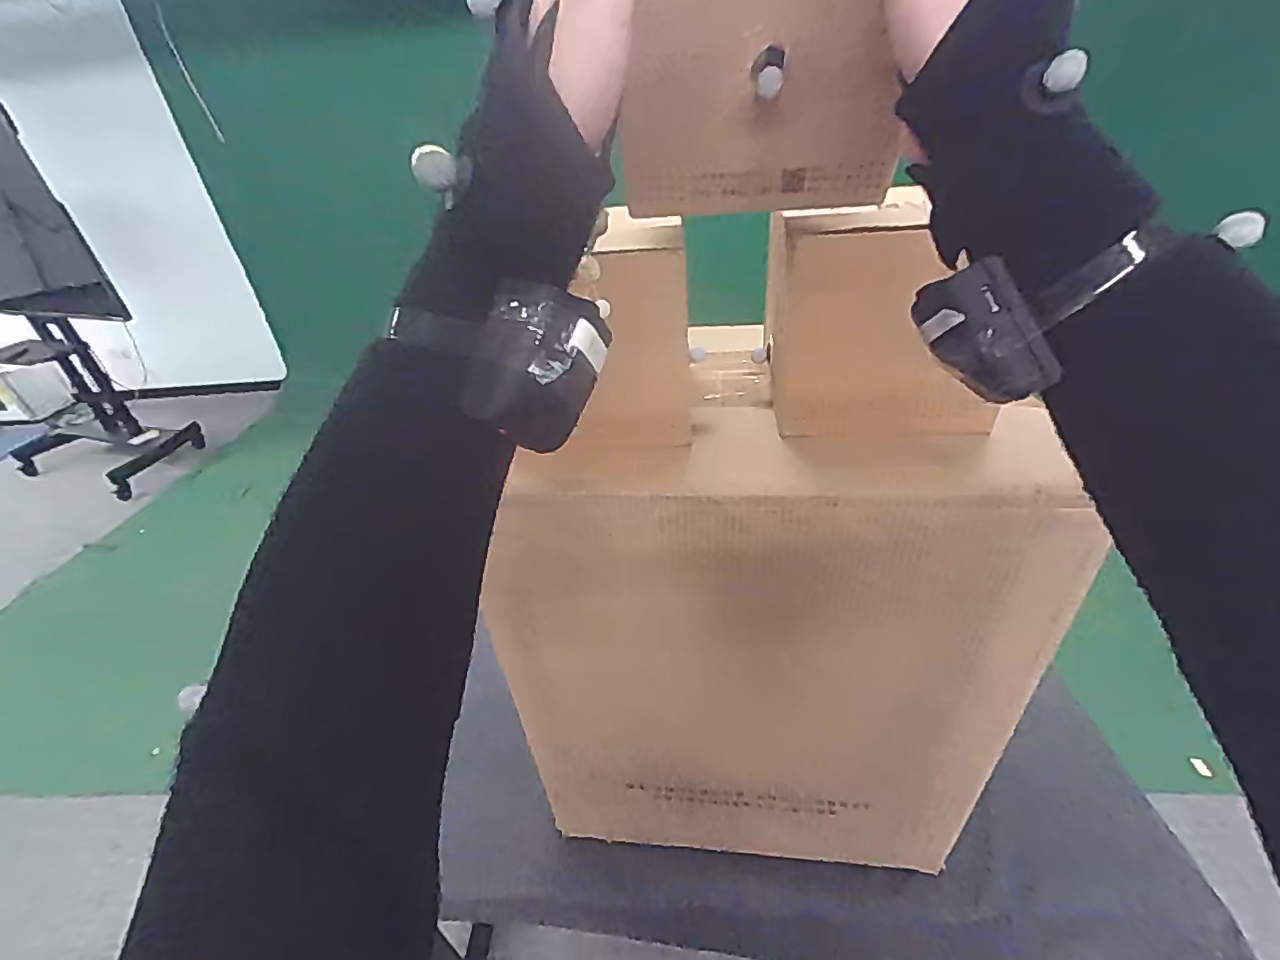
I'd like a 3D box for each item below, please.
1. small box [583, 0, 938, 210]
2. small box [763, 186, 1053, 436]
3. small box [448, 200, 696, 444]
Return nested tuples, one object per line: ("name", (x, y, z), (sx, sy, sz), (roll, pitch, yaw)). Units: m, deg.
("small box", (0.070, -0.302, 0.341), (0.179, 0.176, 0.168), (-26, 55, -11))
("small box", (0.208, -0.150, 0.483), (0.179, 0.176, 0.168), (-1, 35, 8))
("small box", (-0.043, -0.145, 0.505), (0.179, 0.176, 0.168), (-1, 39, 9))
